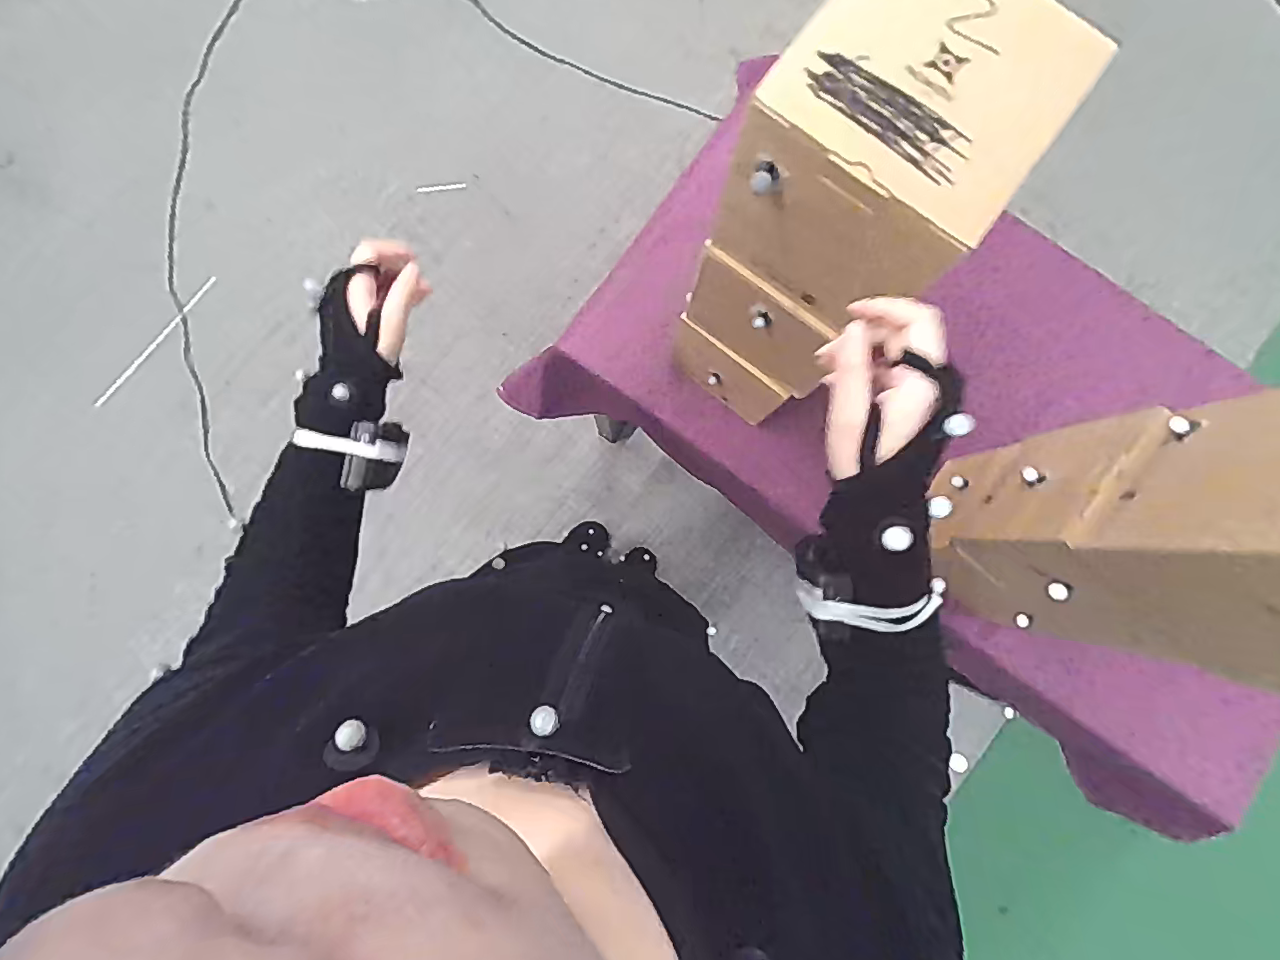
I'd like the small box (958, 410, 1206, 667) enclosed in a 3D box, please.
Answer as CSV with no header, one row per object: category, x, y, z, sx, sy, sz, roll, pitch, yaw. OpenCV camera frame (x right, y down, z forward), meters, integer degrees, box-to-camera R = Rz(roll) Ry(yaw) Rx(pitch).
small box,0.483,0.059,0.561,0.179,0.176,0.168,41,85,2

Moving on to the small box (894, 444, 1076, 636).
small box,0.484,0.079,0.724,0.179,0.176,0.168,38,85,1

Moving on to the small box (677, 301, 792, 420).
small box,0.164,-0.205,0.739,0.168,0.176,0.179,39,85,1

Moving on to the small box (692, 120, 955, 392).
small box,0.174,-0.217,0.576,0.179,0.176,0.168,38,86,1

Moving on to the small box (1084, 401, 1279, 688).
small box,0.495,0.051,0.397,0.179,0.176,0.168,42,85,1
